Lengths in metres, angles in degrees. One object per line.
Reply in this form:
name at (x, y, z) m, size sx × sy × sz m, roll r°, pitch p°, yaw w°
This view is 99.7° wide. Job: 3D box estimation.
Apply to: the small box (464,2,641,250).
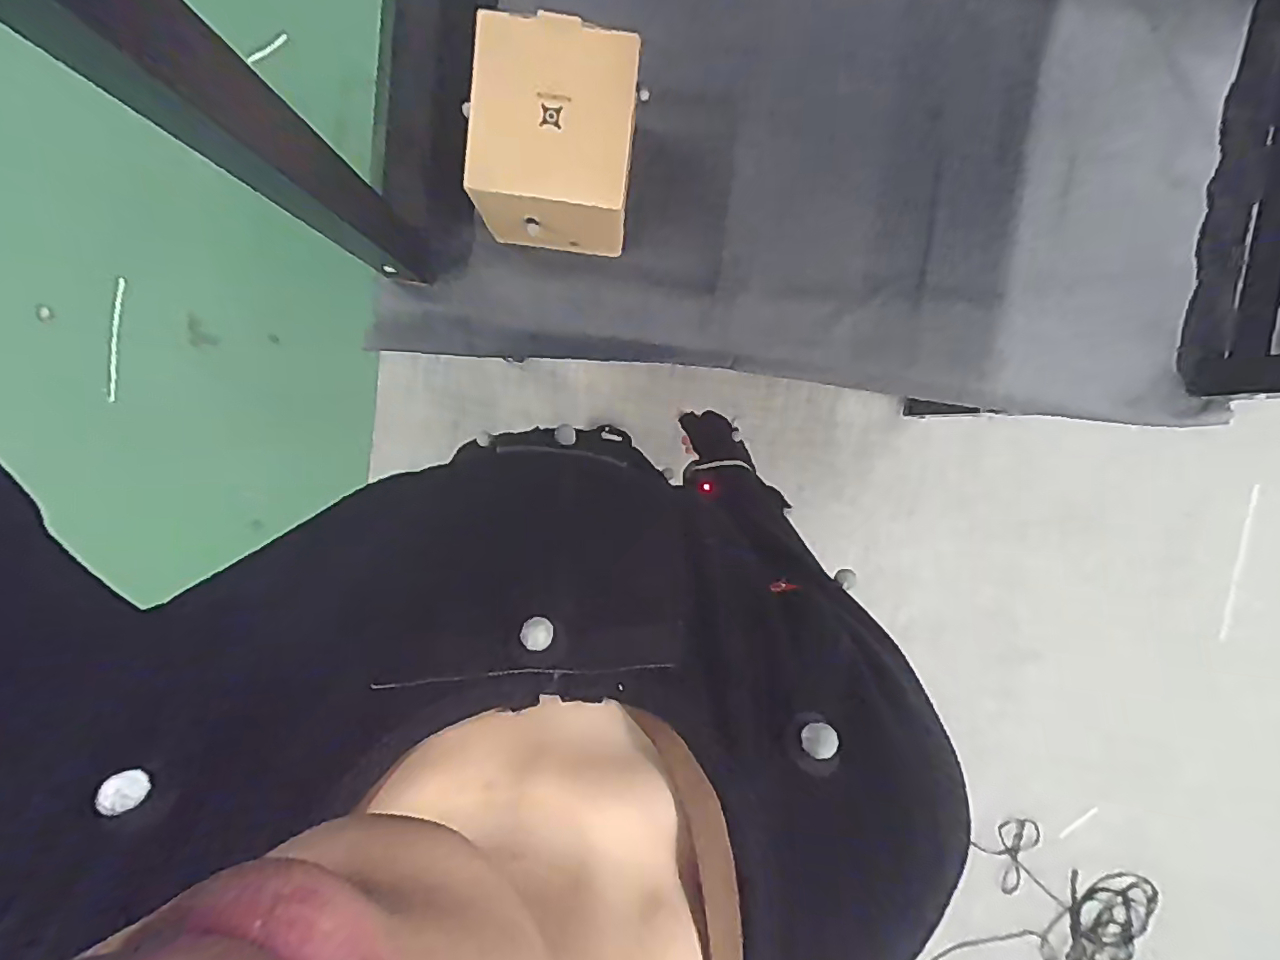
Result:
small box at (-0.092, -0.384, 0.623) m, size 0.168 × 0.176 × 0.179 m, roll 6°, pitch 95°, yaw -4°
